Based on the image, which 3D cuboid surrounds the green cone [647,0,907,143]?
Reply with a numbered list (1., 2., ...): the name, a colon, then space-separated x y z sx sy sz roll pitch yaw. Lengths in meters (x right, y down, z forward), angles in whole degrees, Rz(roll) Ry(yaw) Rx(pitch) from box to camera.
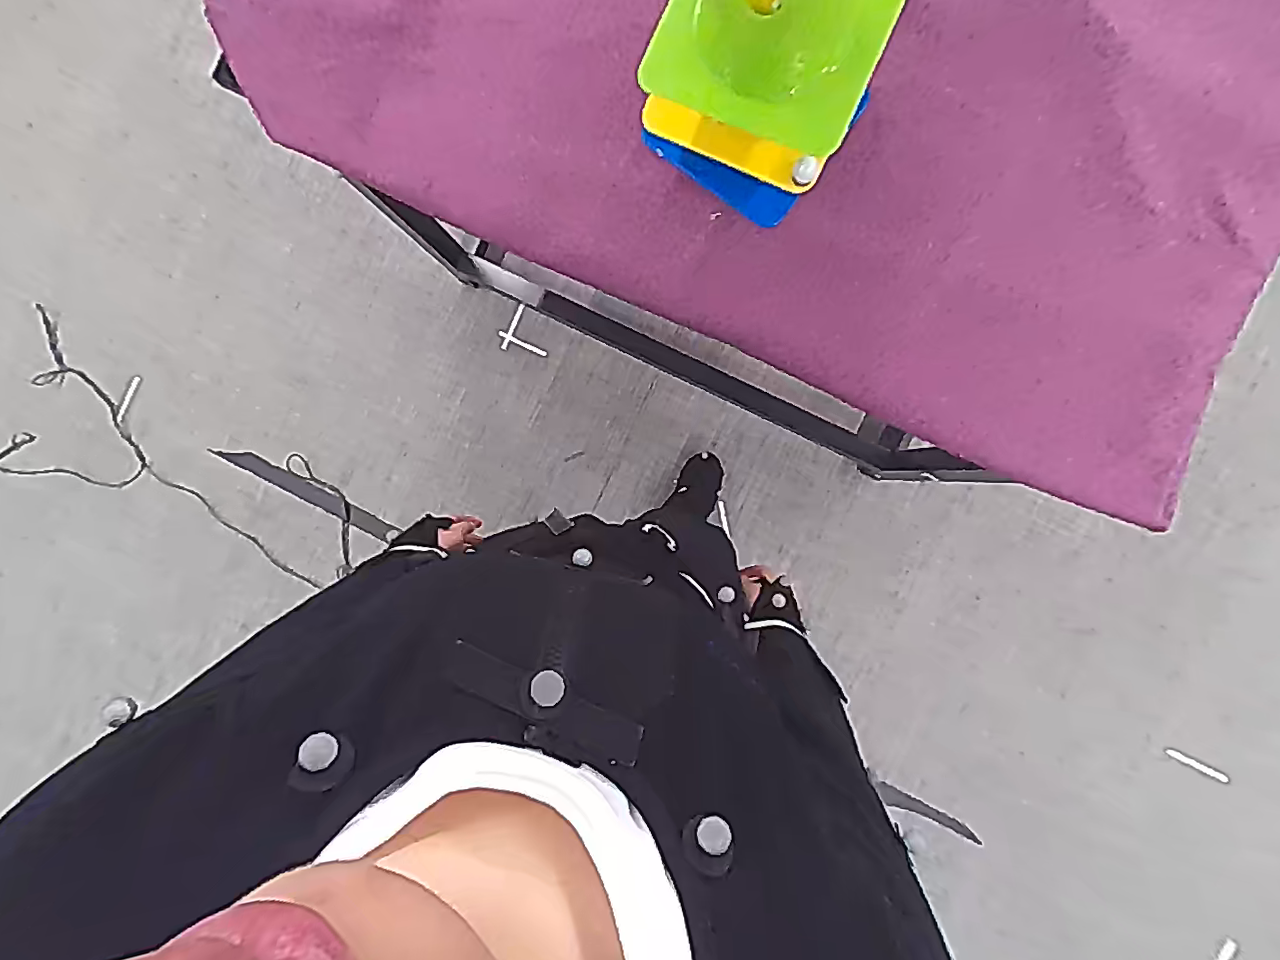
1. green cone: 0.114 -0.428 0.318 0.200 0.368 0.202 24 90 5
